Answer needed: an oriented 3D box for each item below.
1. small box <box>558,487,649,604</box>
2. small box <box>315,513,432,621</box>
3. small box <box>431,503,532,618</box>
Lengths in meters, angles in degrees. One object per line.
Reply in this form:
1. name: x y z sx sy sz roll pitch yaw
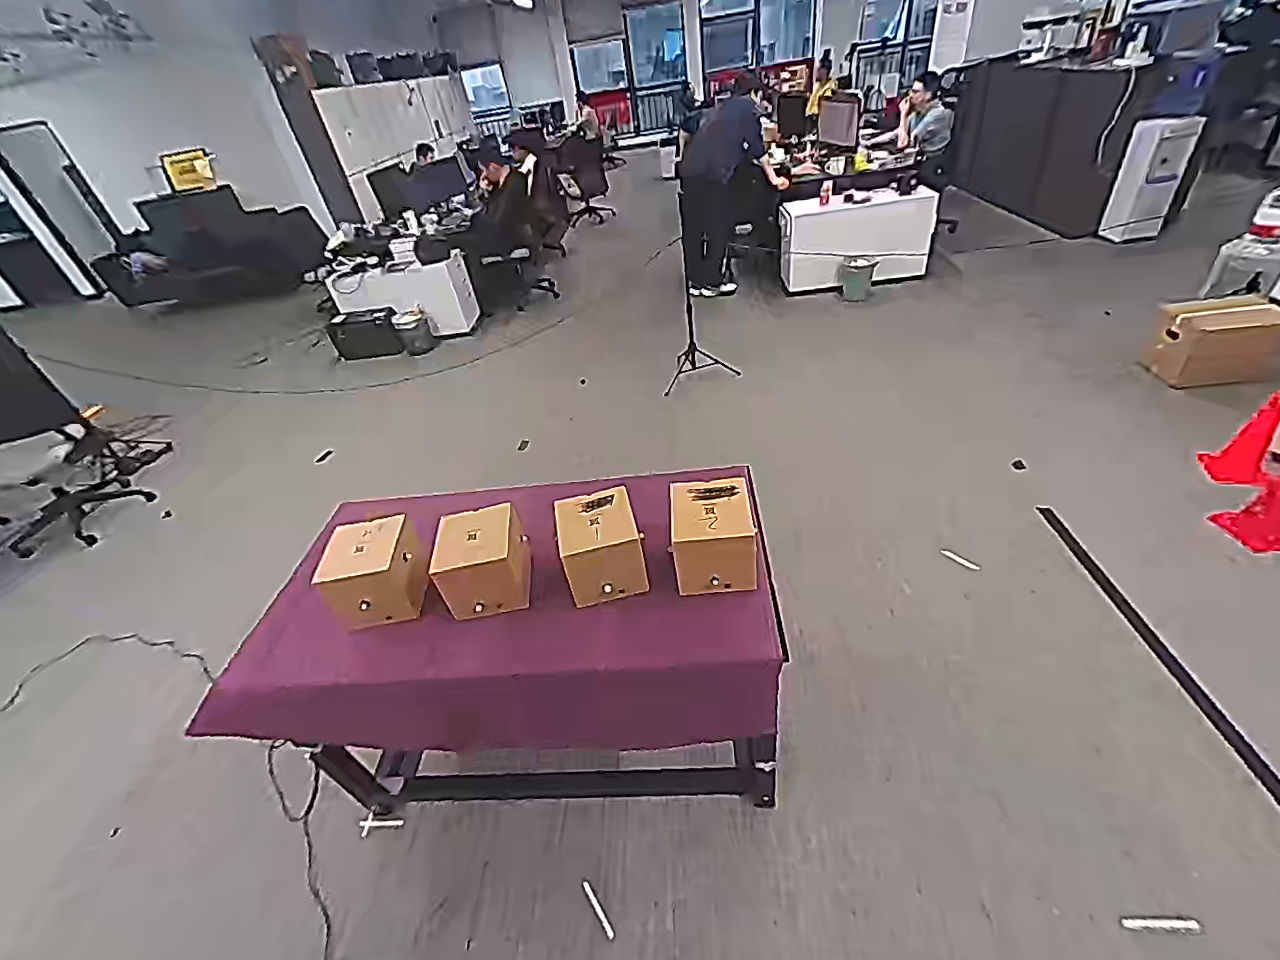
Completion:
1. small box: -0.081 0.145 1.202 0.168 0.176 0.179 -13 39 -3
2. small box: -0.597 0.206 1.238 0.168 0.176 0.179 -10 38 0
3. small box: -0.345 0.180 1.218 0.168 0.176 0.179 -11 38 0
